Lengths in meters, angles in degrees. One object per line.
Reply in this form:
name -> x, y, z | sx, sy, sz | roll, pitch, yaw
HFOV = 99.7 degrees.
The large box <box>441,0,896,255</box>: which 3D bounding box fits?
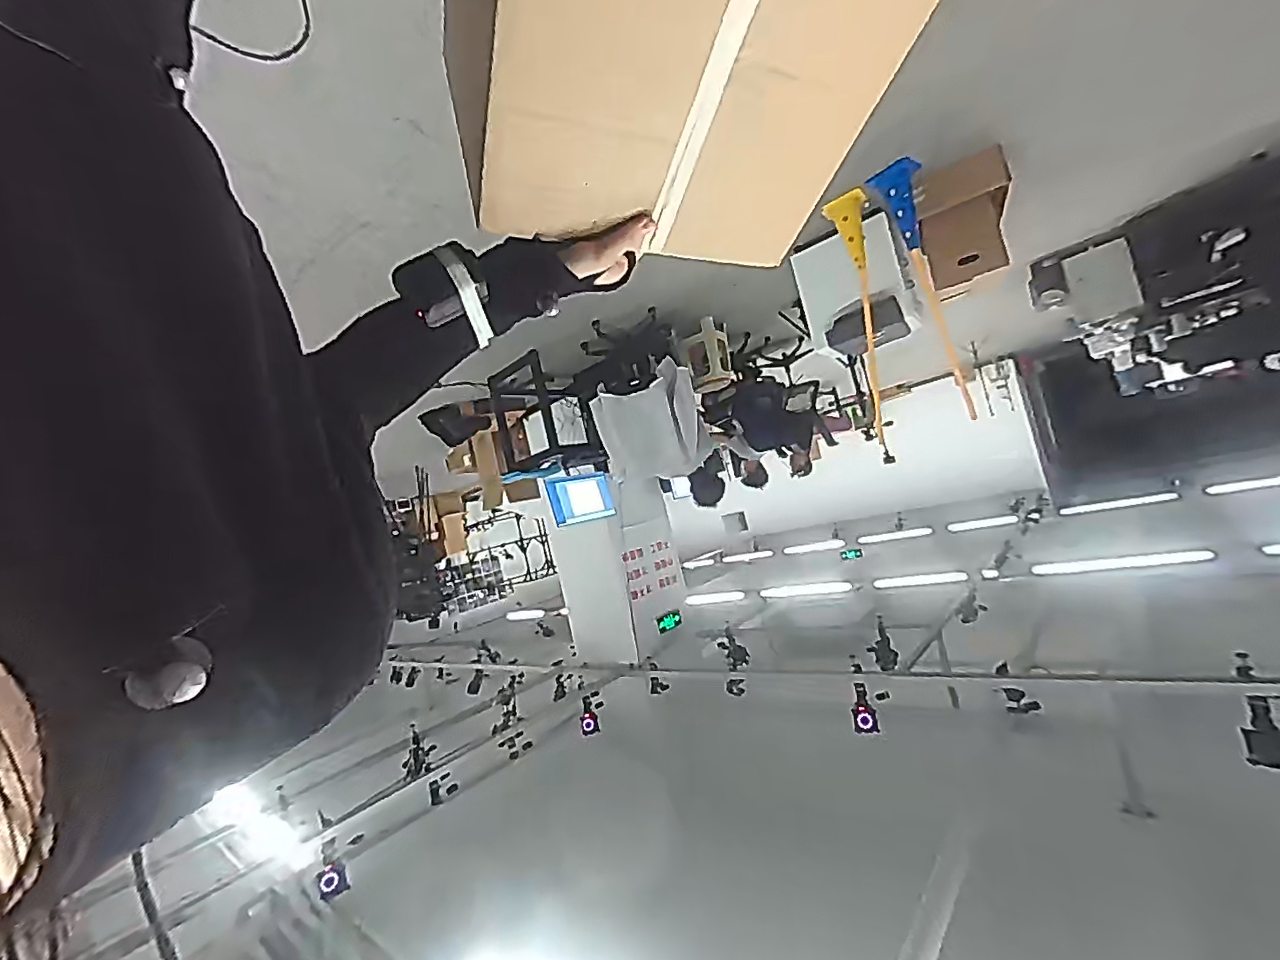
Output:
large box -> 0.008, -0.463, 0.439 | 0.320, 0.320, 0.408 | -4, 148, -24
